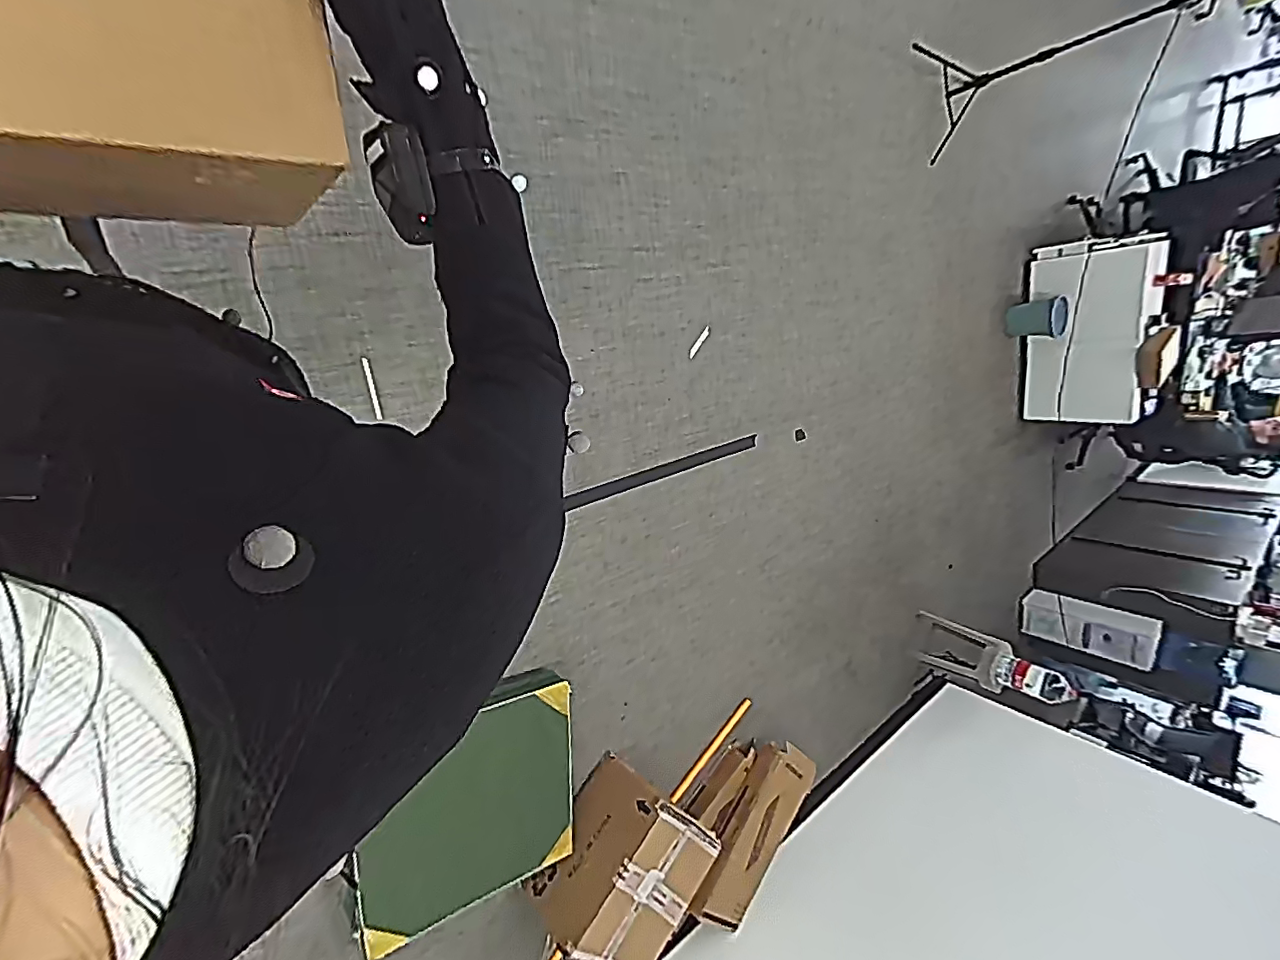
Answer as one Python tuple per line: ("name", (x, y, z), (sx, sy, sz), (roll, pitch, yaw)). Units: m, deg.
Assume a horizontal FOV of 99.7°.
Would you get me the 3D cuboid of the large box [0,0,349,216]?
("large box", (-0.457, -0.352, 0.325), (0.408, 0.320, 0.320), (-17, 114, -35))
